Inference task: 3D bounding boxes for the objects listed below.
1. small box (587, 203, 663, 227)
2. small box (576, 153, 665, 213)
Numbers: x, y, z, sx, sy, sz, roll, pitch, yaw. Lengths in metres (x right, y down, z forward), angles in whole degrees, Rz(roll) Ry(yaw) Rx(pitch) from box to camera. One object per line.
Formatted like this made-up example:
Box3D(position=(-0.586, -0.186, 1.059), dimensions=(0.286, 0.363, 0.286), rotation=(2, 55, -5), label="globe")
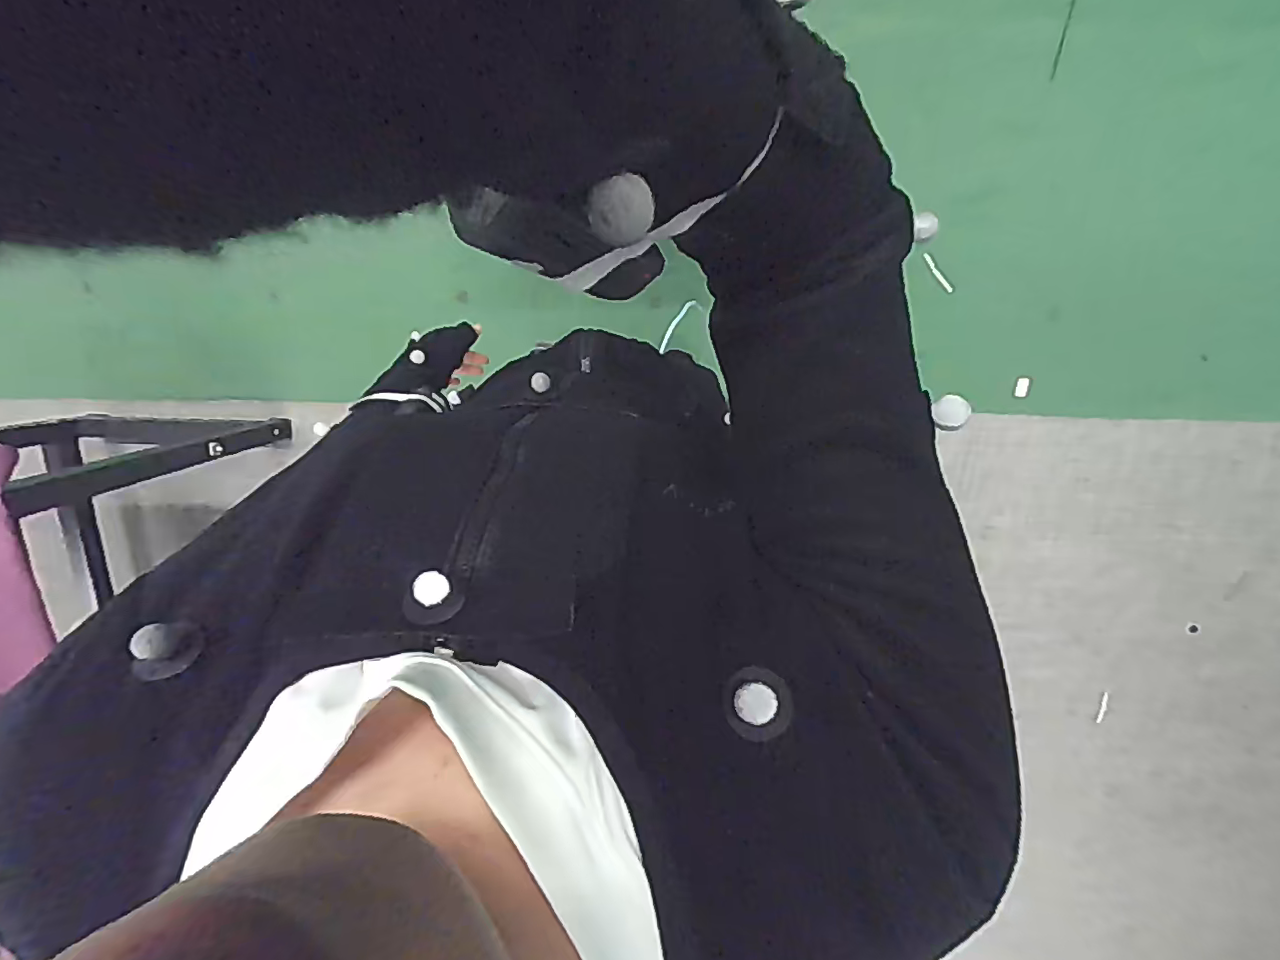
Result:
Box3D(position=(-0.031, -0.683, 1.220), dimensions=(0.168, 0.176, 0.179), rotation=(0, 105, 2), label="small box")
Box3D(position=(-0.037, -0.641, 1.064), dimensions=(0.168, 0.176, 0.179), rotation=(-2, 106, 2), label="small box")
